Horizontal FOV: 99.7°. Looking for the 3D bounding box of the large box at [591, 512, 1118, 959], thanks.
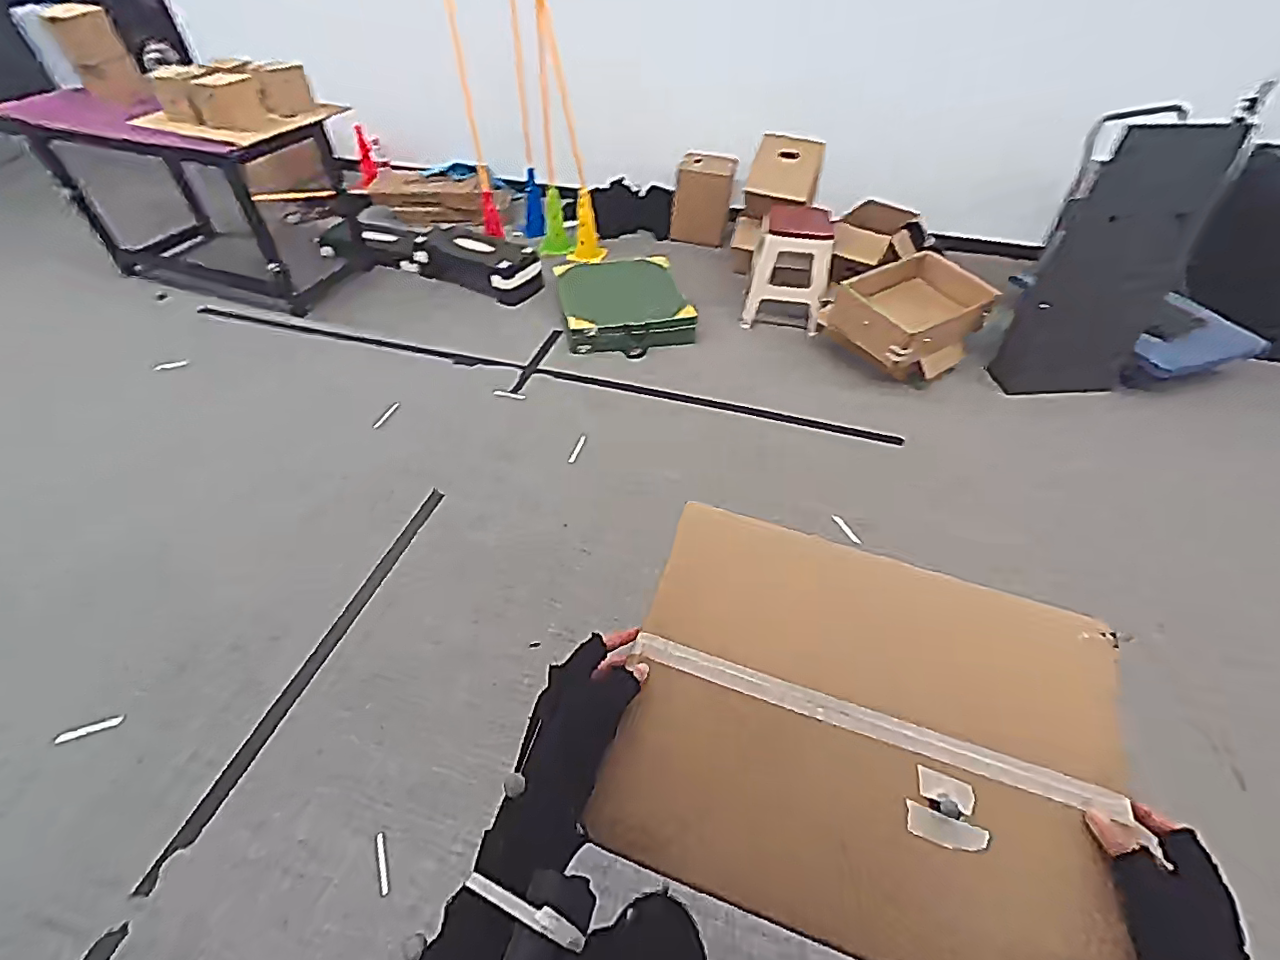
[{"bbox_3d":[0.193,0.283,0.604,0.408,0.320,0.320,16,62,10],"label":"large box"}]
